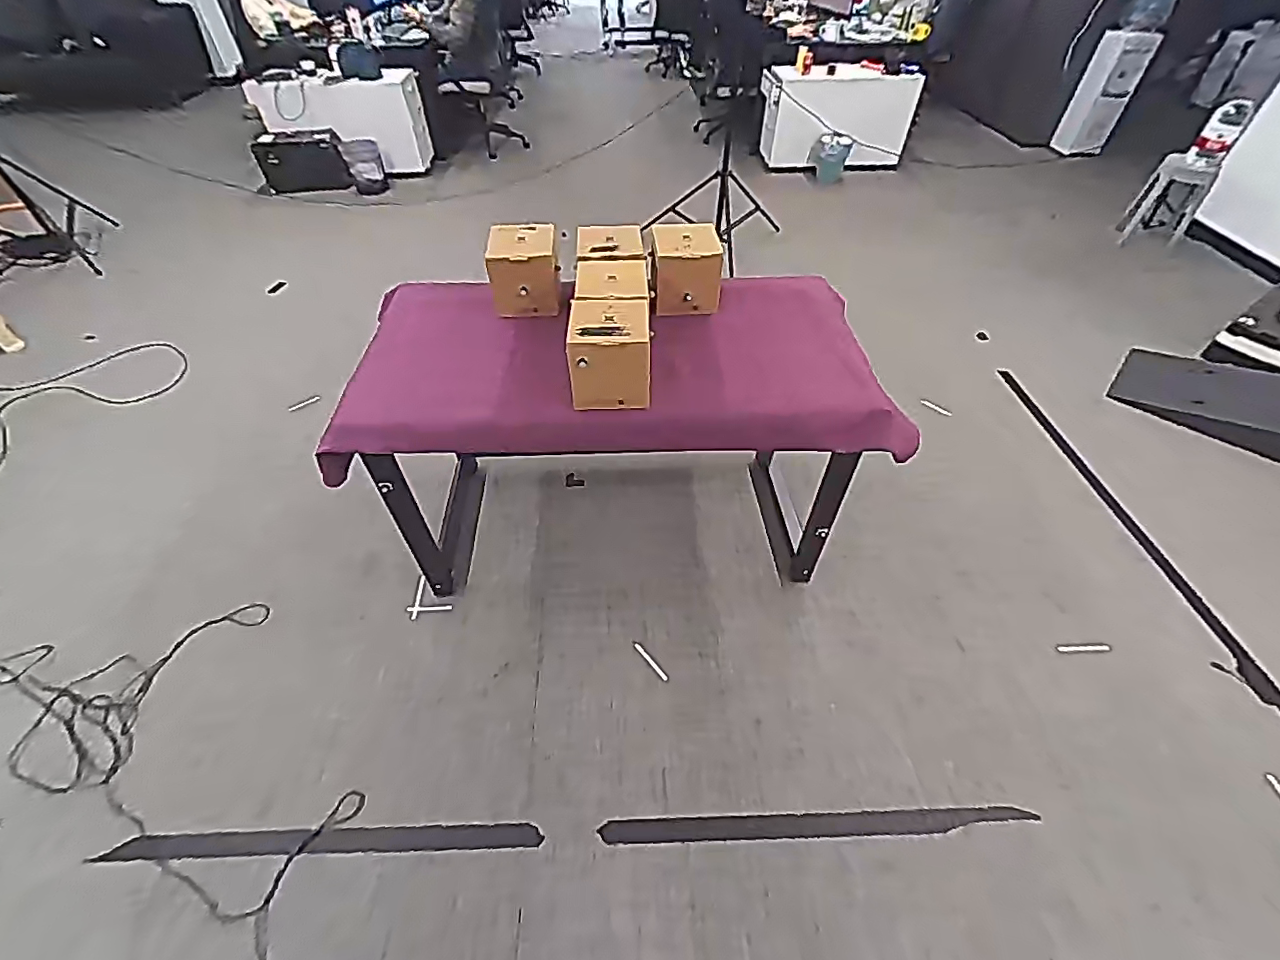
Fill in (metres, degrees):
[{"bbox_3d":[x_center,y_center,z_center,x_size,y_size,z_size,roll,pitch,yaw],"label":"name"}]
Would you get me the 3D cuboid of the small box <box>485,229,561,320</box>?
[{"bbox_3d":[-0.302,-0.538,1.430,0.168,0.176,0.179,-3,50,-3],"label":"small box"}]
